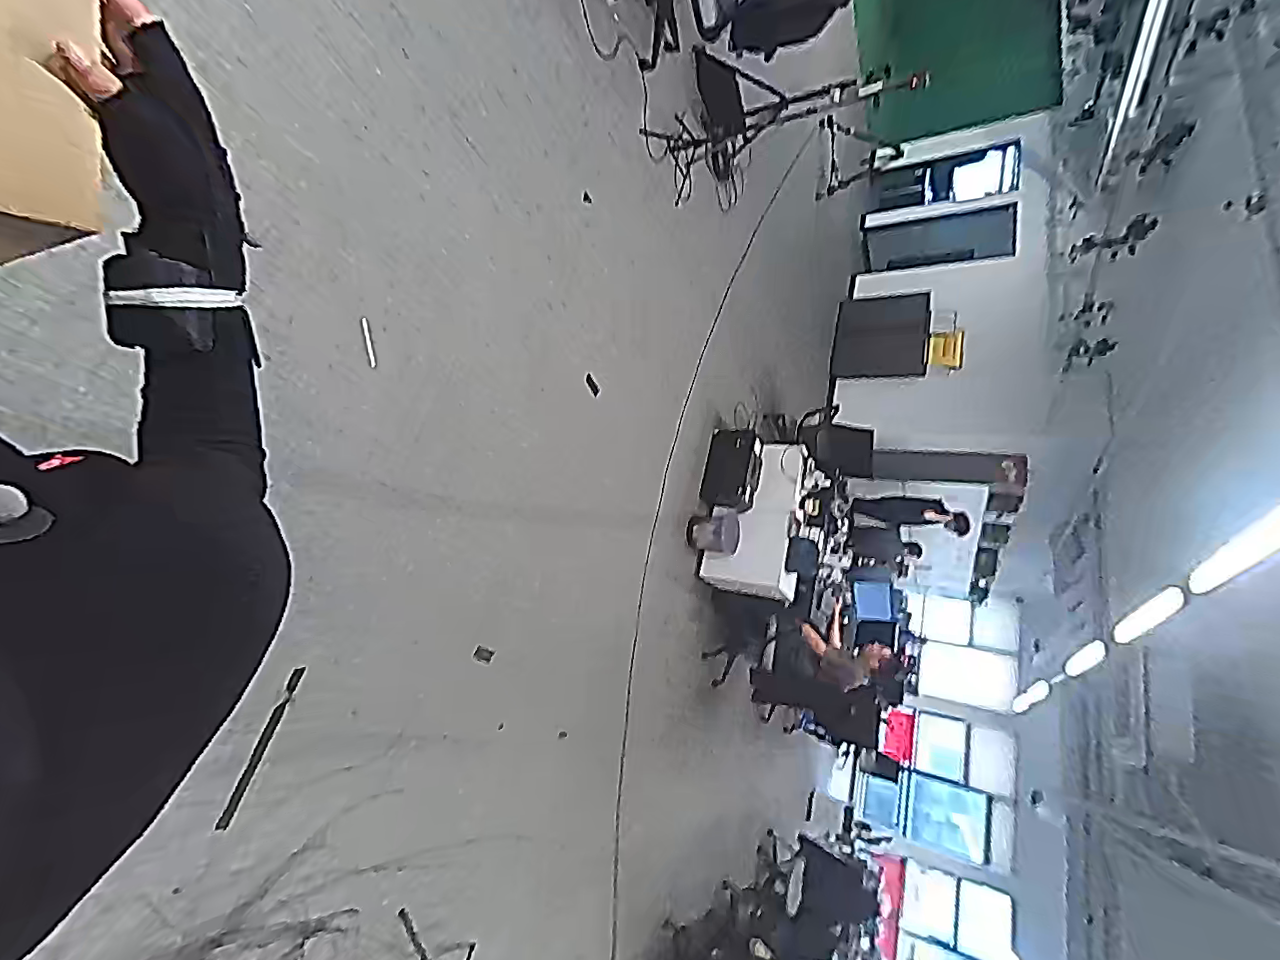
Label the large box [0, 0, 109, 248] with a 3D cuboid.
[{"bbox_3d":[-0.577,-0.331,0.252,0.408,0.320,0.320,-7,105,-57],"label":"large box"}]
